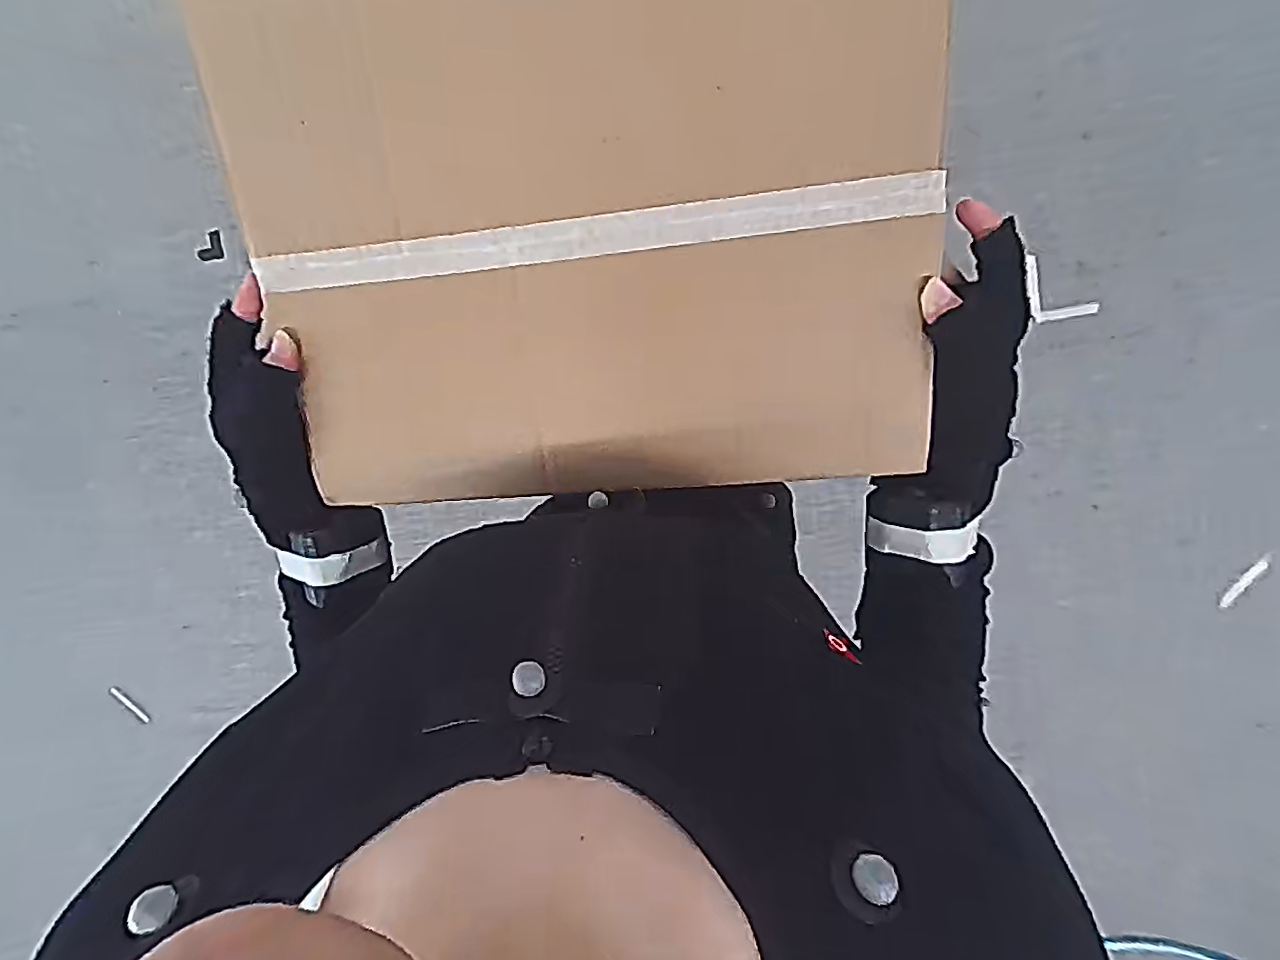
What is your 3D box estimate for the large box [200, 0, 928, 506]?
[{"bbox_3d":[-0.023,-0.187,0.466,0.408,0.320,0.320,-4,107,7],"label":"large box"}]
